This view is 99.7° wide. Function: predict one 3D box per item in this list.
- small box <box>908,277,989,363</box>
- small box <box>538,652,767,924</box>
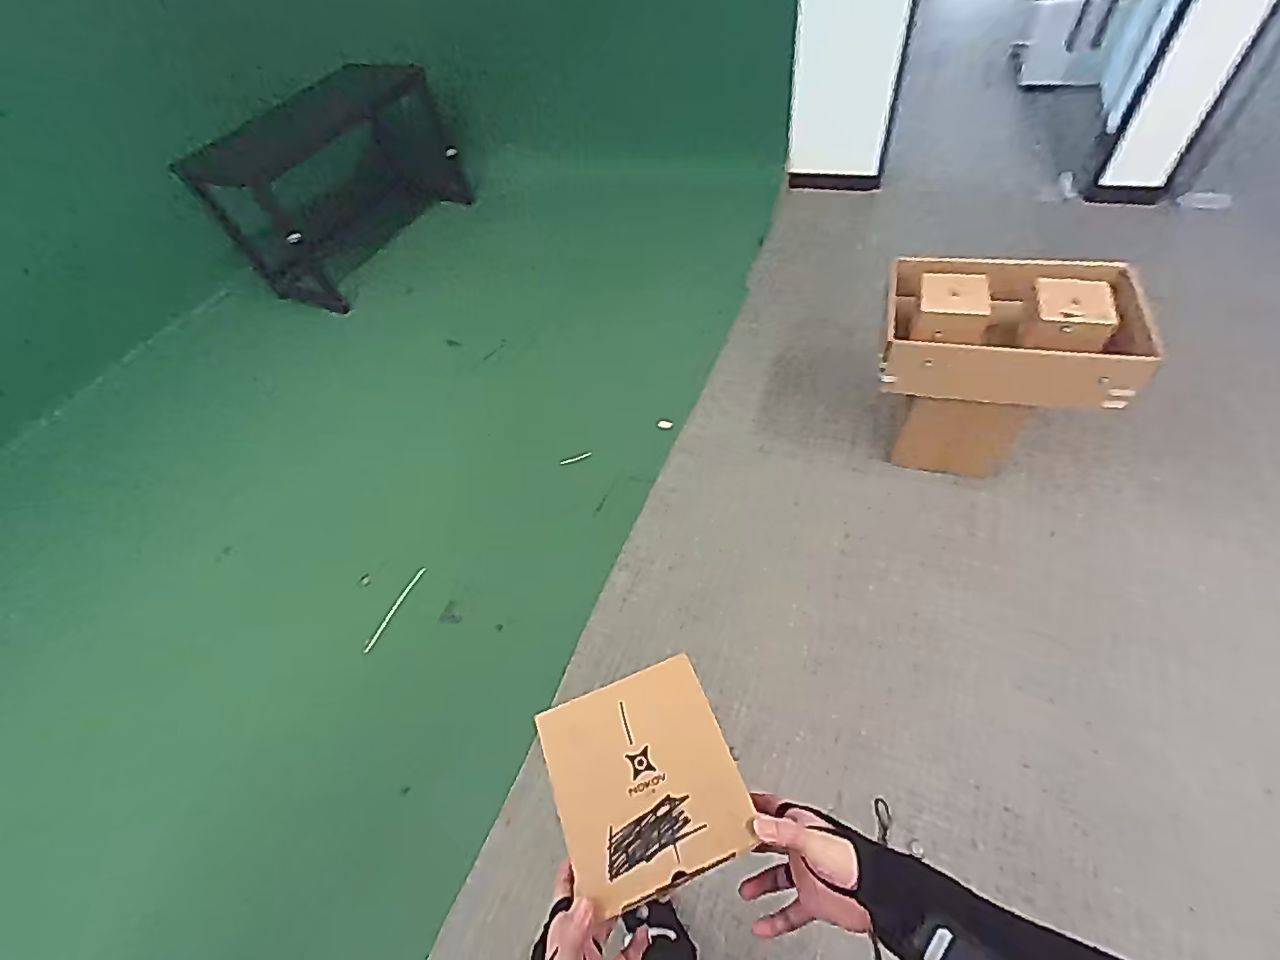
[{"bbox_3d":[0.875,-0.454,1.546,0.168,0.176,0.179,9,55,17],"label":"small box"},{"bbox_3d":[0.011,0.308,0.550,0.168,0.176,0.179,-18,54,-8],"label":"small box"}]
